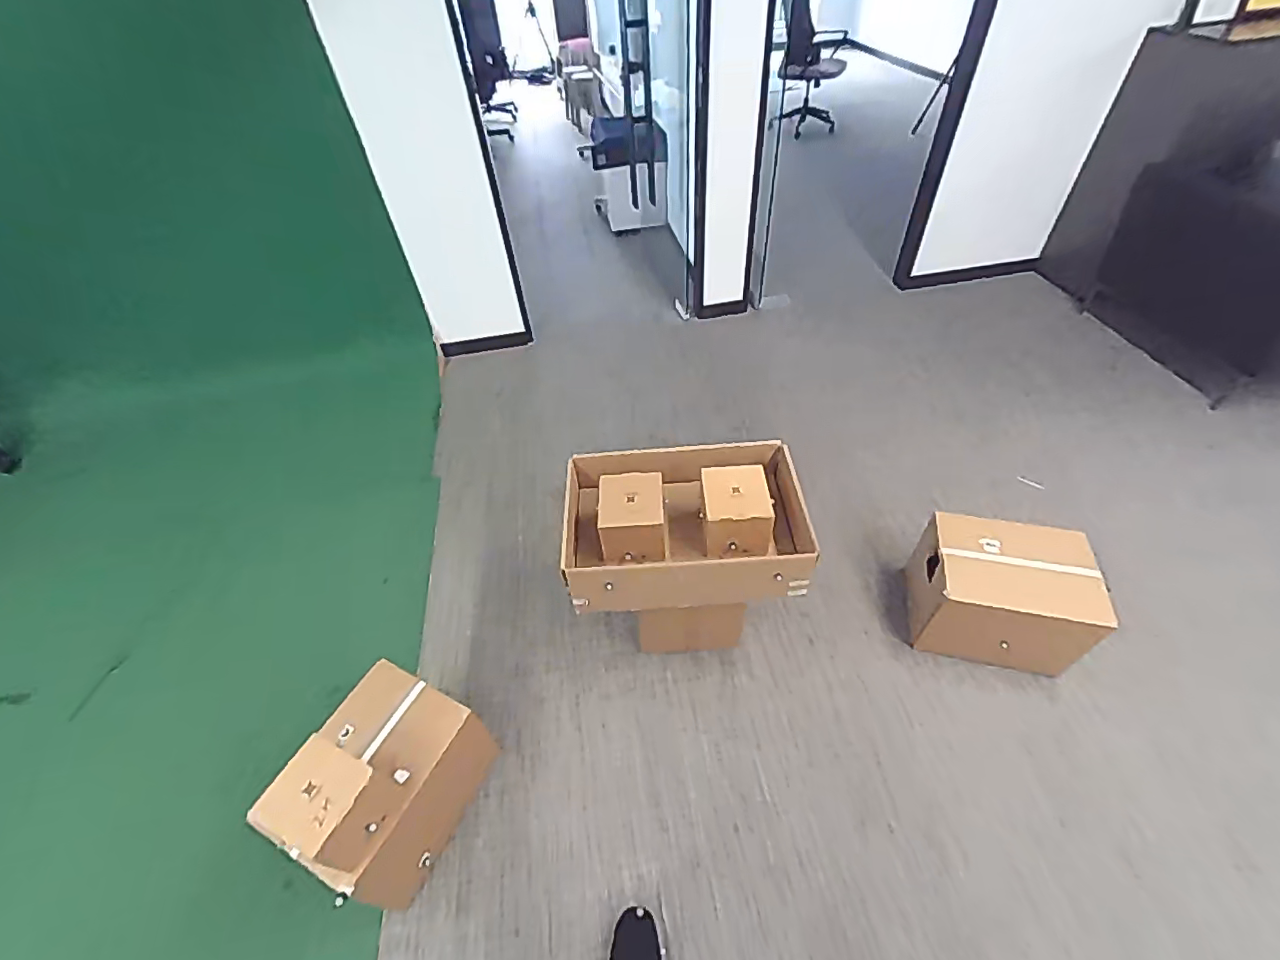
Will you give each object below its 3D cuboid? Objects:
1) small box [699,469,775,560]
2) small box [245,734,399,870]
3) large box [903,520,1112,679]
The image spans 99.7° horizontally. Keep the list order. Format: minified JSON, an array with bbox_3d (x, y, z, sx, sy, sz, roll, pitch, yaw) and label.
[{"bbox_3d":[0.247,0.091,1.425,0.168,0.176,0.179,-3,48,1],"label":"small box"},{"bbox_3d":[-0.630,0.655,1.093,0.179,0.176,0.168,18,51,18],"label":"small box"},{"bbox_3d":[1.046,0.354,1.606,0.408,0.320,0.320,8,47,12],"label":"large box"}]
